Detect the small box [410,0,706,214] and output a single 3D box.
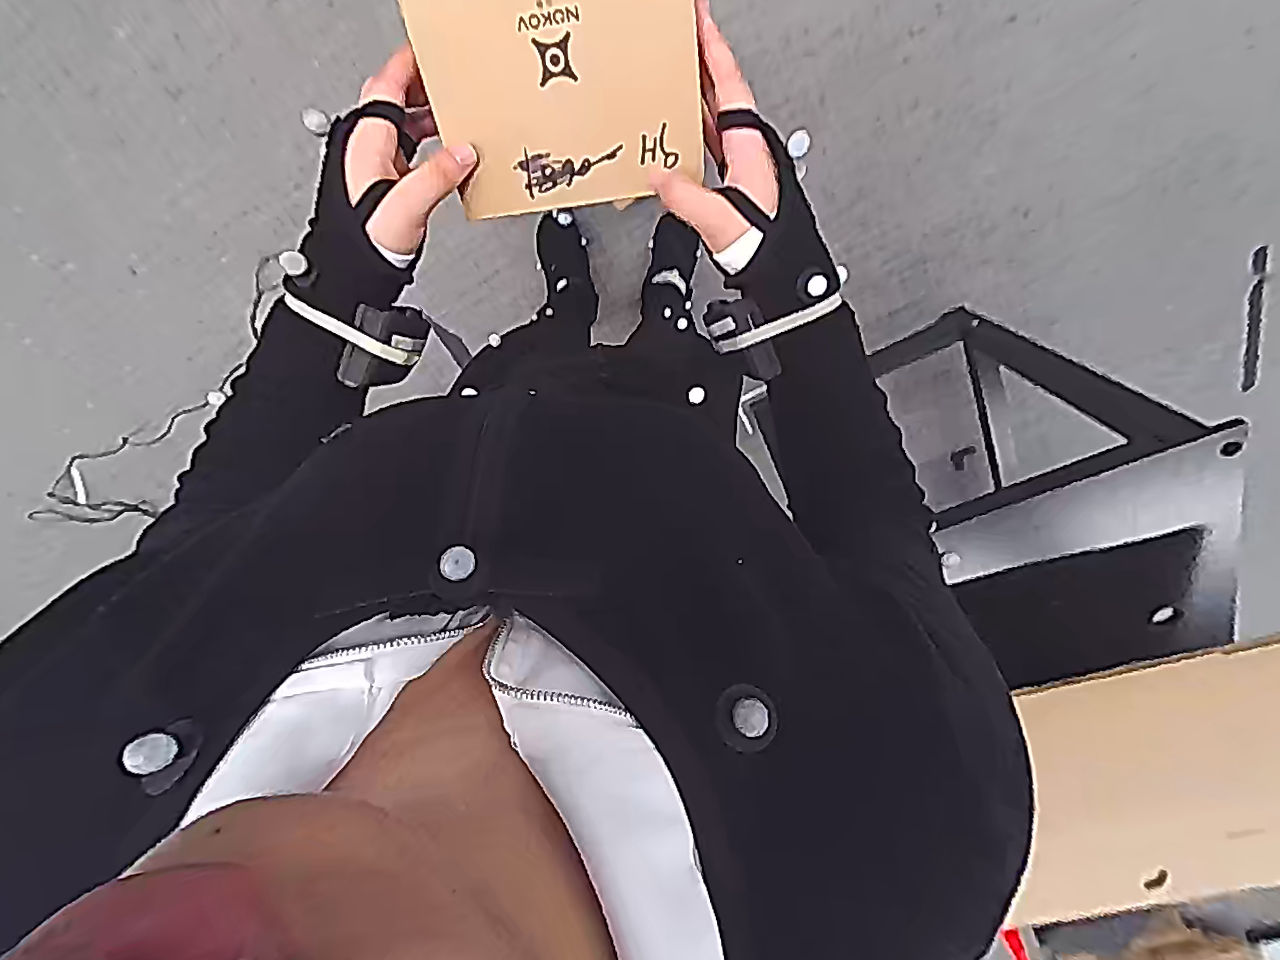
[{"bbox_3d":[-0.045,-0.307,0.379,0.168,0.176,0.179,-5,128,6],"label":"small box"}]
